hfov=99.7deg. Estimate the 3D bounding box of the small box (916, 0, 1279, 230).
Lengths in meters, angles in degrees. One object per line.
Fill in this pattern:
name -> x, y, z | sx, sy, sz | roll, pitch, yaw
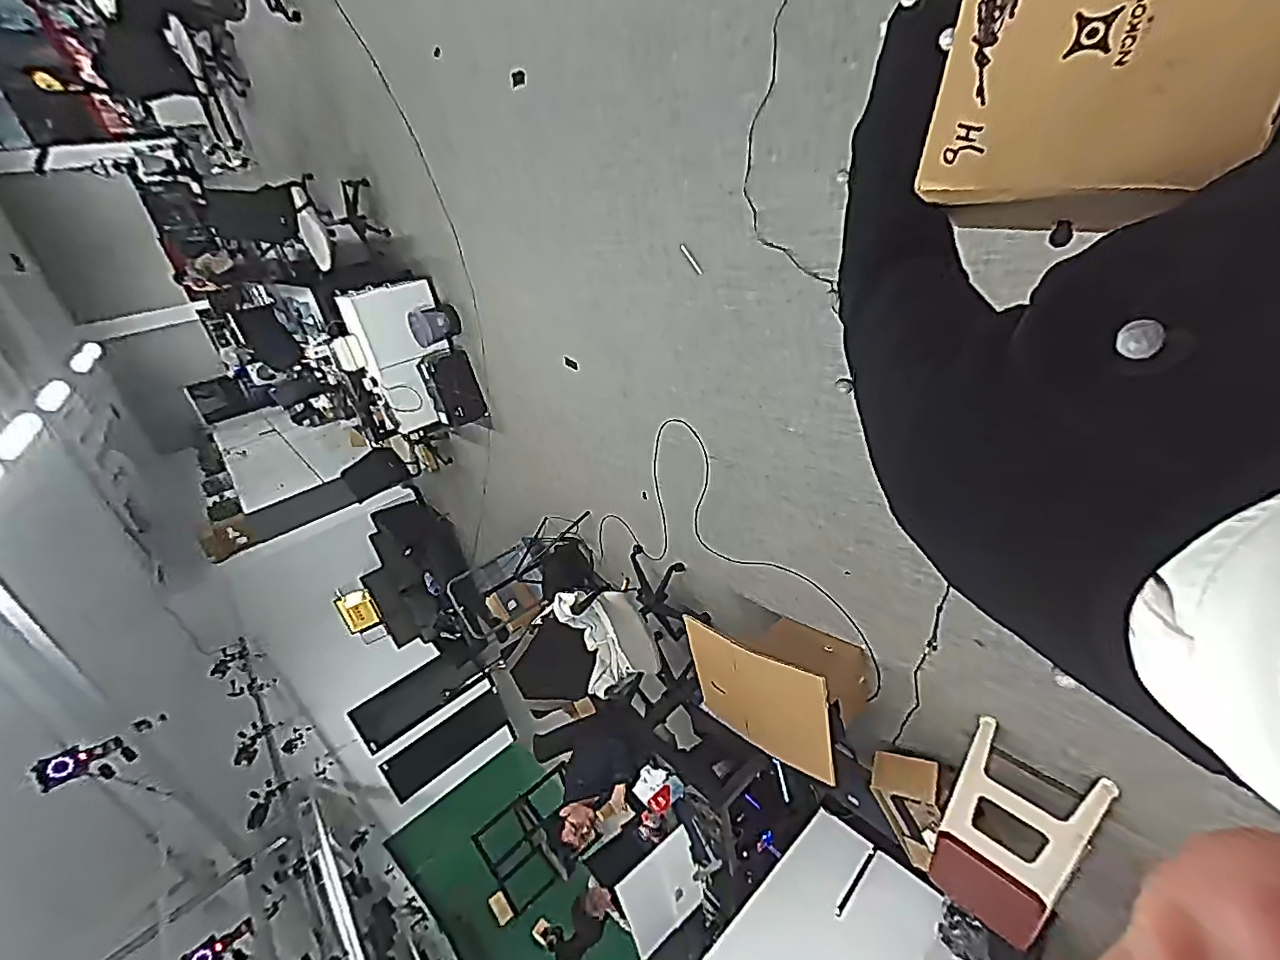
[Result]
small box -> 0.327, -0.279, 0.380 | 0.179, 0.176, 0.168 | 21, 114, 34
